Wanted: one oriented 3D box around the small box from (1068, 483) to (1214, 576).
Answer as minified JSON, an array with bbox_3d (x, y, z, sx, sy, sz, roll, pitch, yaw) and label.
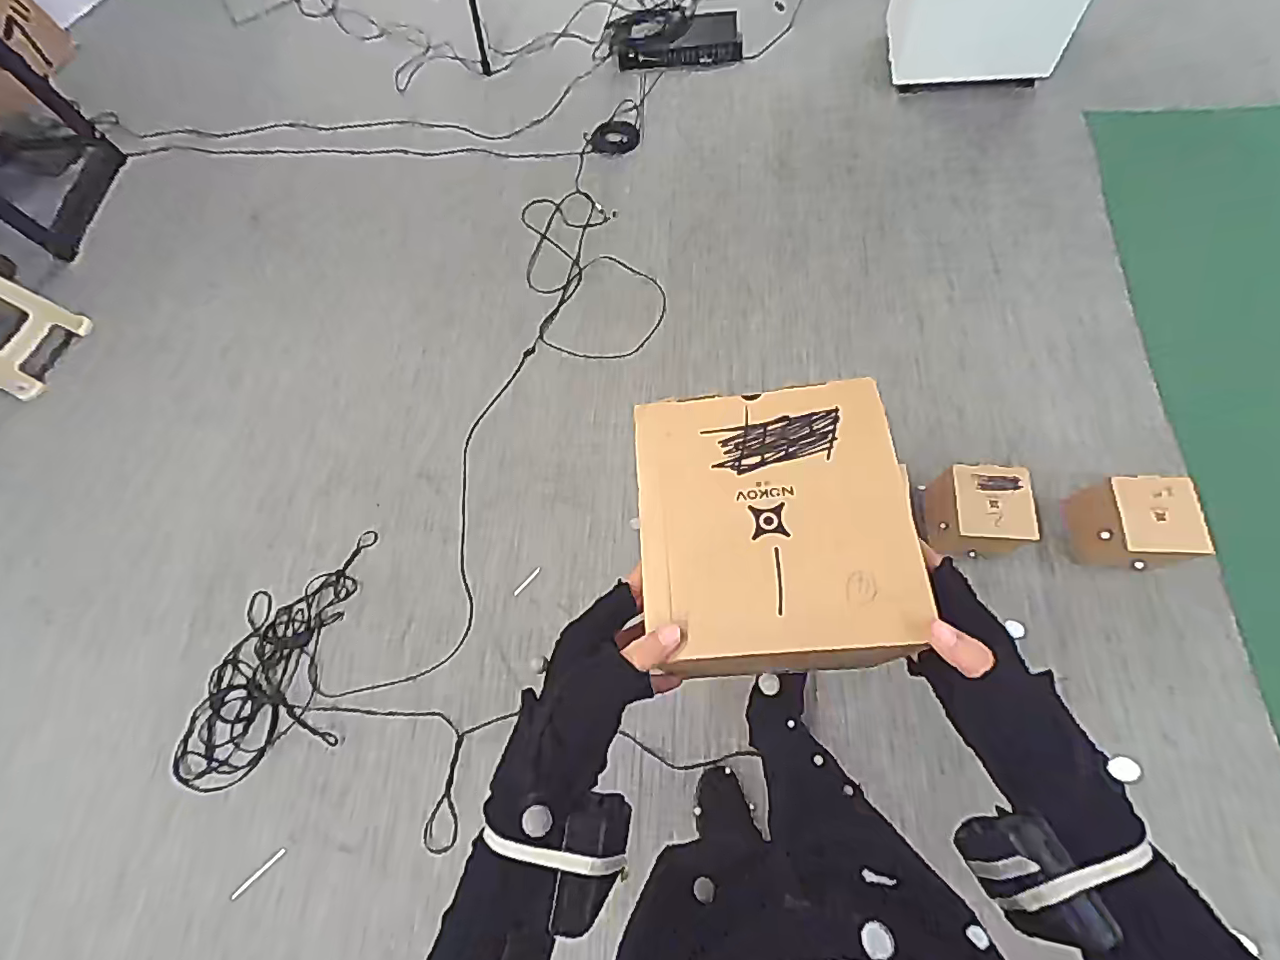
[{"bbox_3d":[1.134,0.119,1.241,0.168,0.176,0.179,2,68,7],"label":"small box"}]
